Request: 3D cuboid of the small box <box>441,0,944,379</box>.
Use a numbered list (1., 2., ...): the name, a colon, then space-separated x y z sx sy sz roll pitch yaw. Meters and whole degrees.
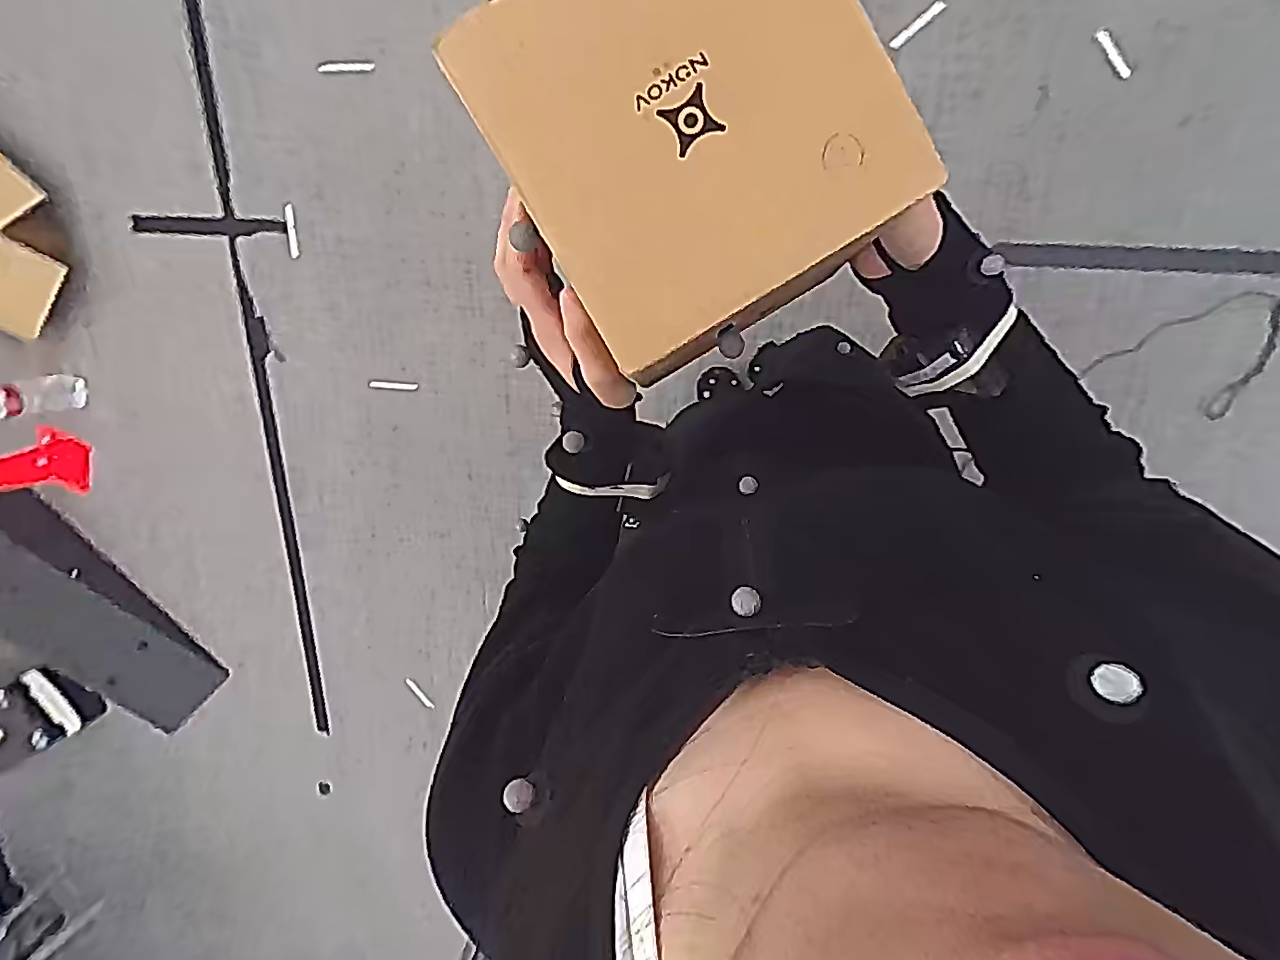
1. small box: 0.028 -0.173 0.316 0.168 0.176 0.179 -30 94 7
